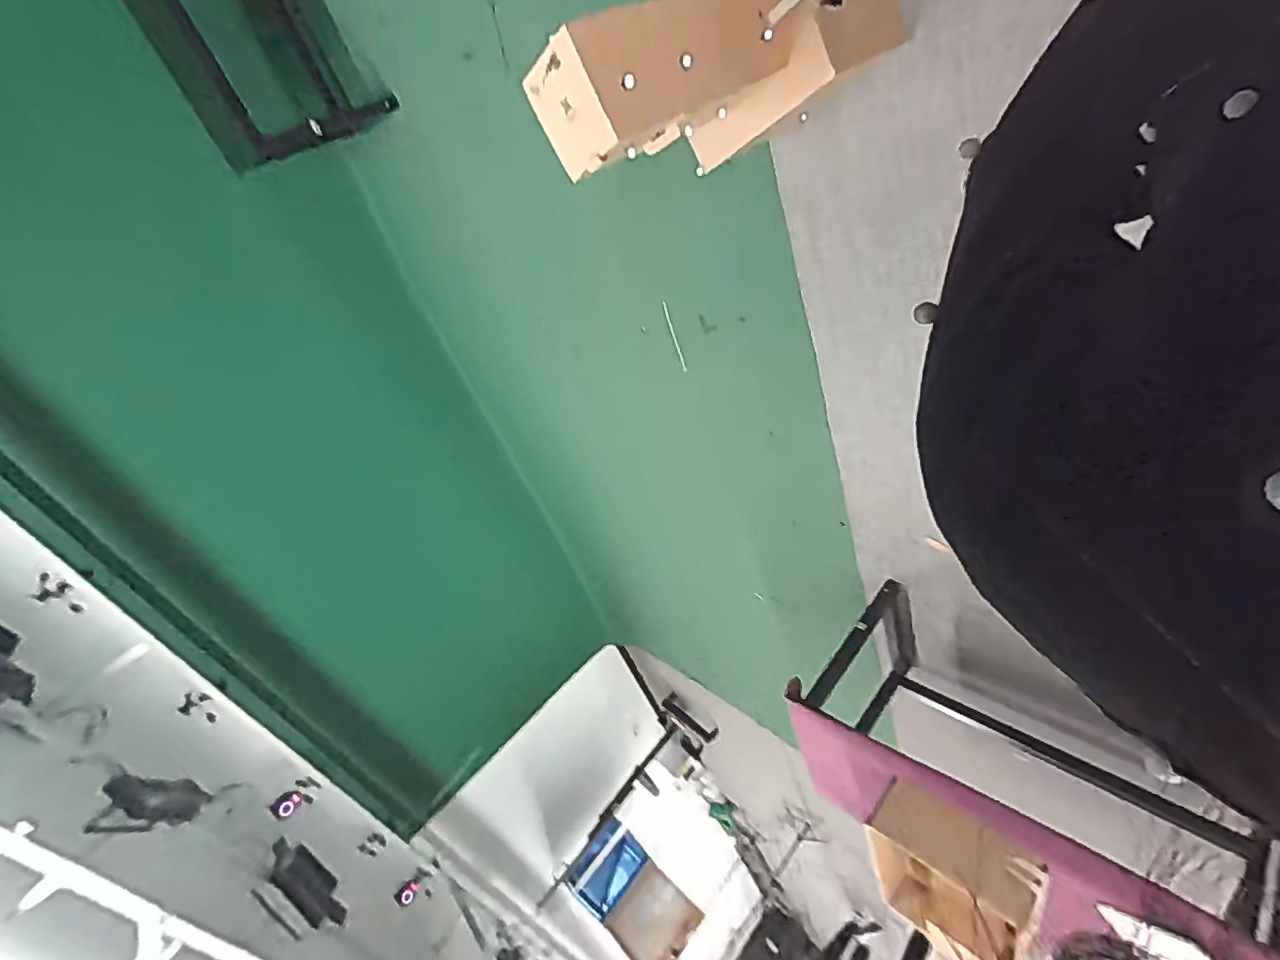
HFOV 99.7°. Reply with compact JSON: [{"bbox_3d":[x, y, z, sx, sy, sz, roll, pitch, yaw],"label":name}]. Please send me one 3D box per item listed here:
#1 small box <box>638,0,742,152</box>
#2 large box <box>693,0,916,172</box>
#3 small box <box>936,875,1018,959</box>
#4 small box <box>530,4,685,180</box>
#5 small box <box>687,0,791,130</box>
[{"bbox_3d":[0.063,-0.766,1.017,0.168,0.176,0.179,6,131,54],"label":"small box"},{"bbox_3d":[0.323,-1.000,1.231,0.408,0.320,0.320,-1,124,59],"label":"large box"},{"bbox_3d":[1.012,1.346,1.626,0.168,0.176,0.179,18,138,47],"label":"small box"},{"bbox_3d":[-0.053,-0.673,0.946,0.168,0.176,0.179,3,130,55],"label":"small box"},{"bbox_3d":[0.170,-0.859,1.099,0.179,0.176,0.168,3,129,55],"label":"small box"}]
